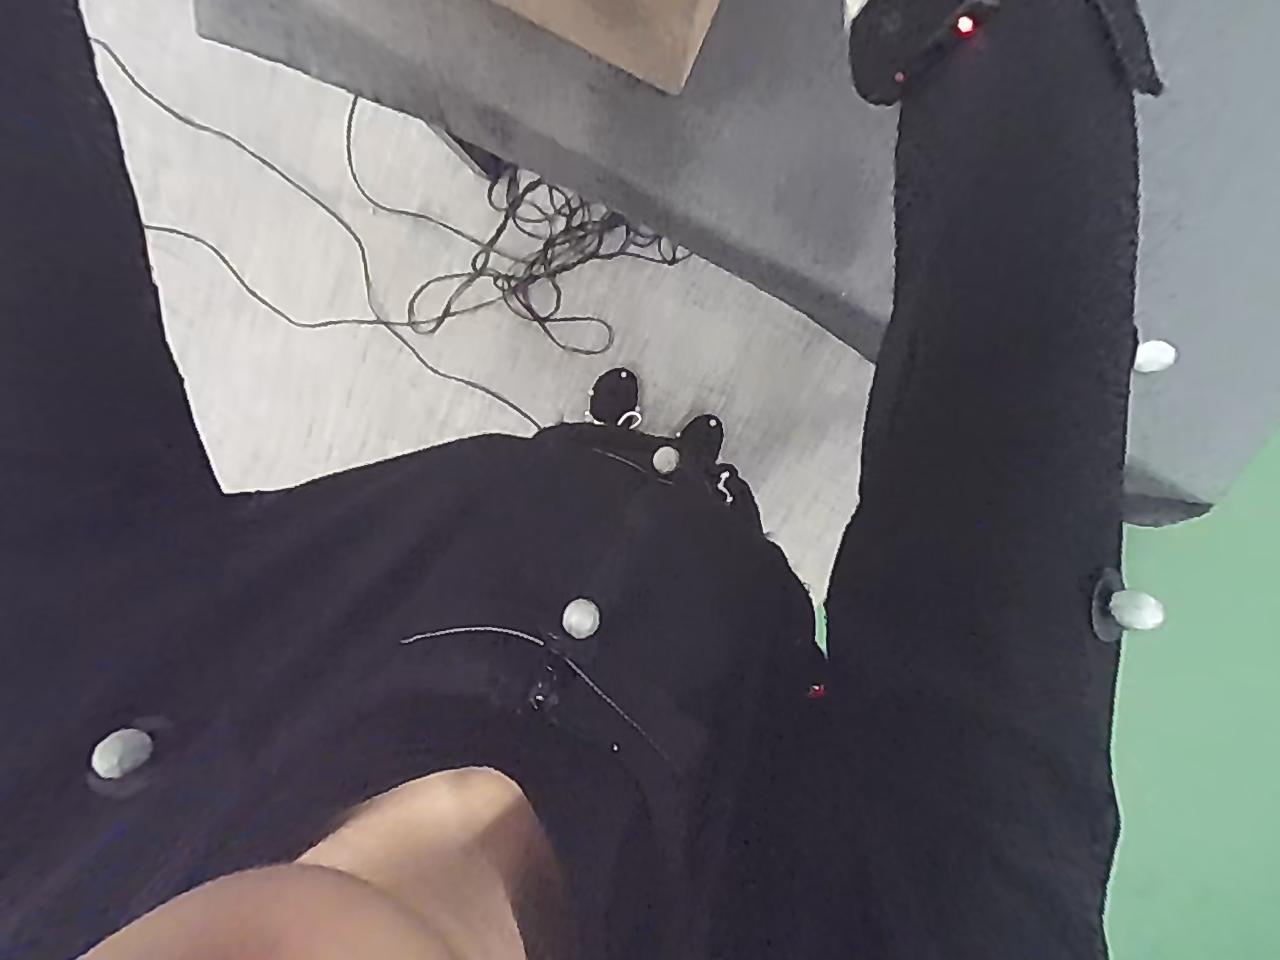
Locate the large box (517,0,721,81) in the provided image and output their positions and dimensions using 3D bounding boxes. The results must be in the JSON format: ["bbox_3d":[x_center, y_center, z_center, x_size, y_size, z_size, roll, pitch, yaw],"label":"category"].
[{"bbox_3d":[-0.072,-0.556,0.329,0.408,0.320,0.320,22,103,-8],"label":"large box"}]
